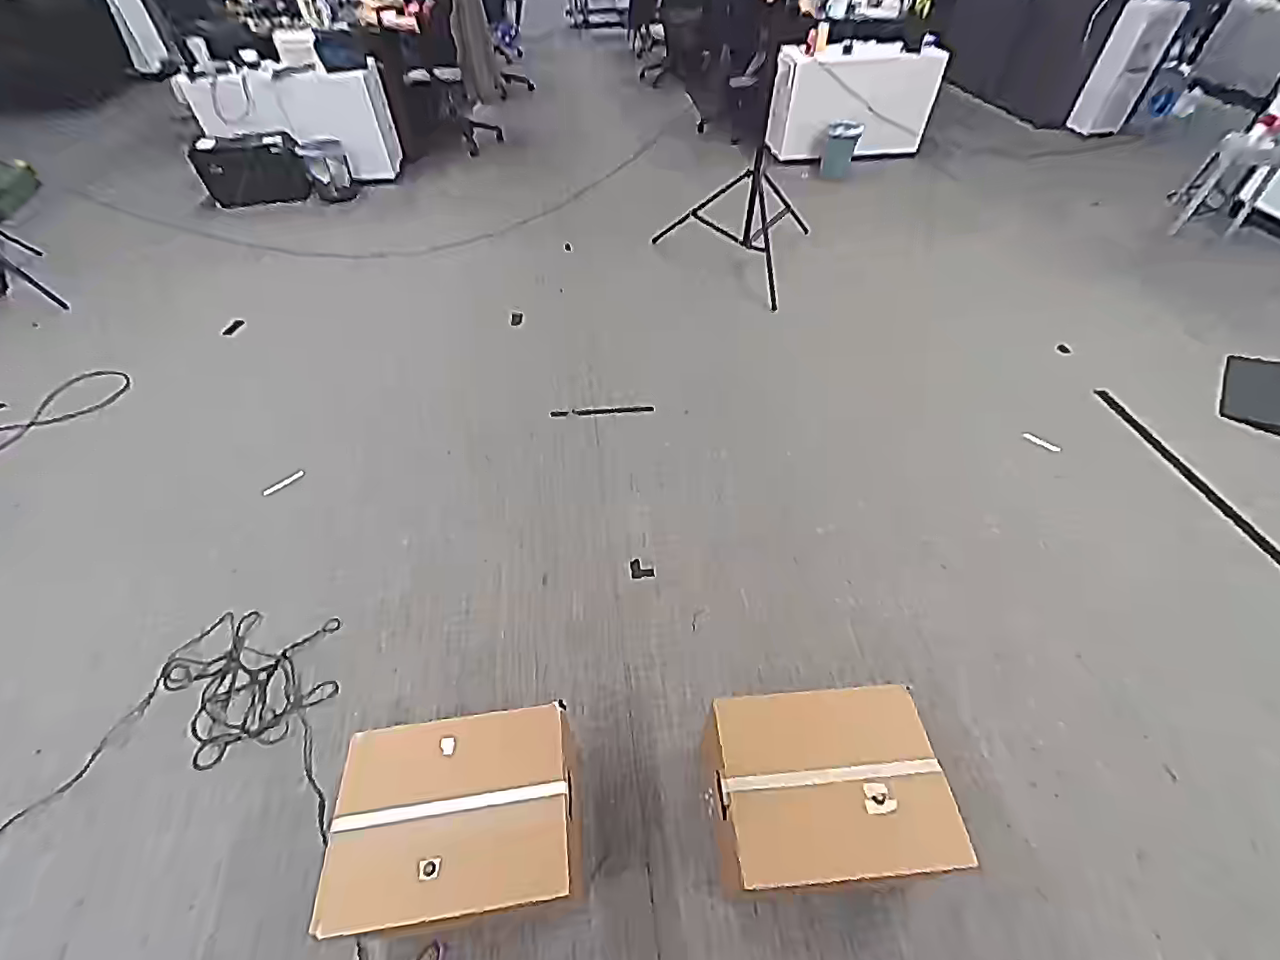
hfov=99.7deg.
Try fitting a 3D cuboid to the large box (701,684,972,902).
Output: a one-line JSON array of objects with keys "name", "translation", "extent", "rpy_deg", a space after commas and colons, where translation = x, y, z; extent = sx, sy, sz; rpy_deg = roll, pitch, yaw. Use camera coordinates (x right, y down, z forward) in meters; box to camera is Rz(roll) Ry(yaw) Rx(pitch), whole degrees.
[{"name": "large box", "translation": [0.359, 0.648, 1.120], "extent": [0.408, 0.320, 0.320], "rpy_deg": [-3, 49, -3]}]
